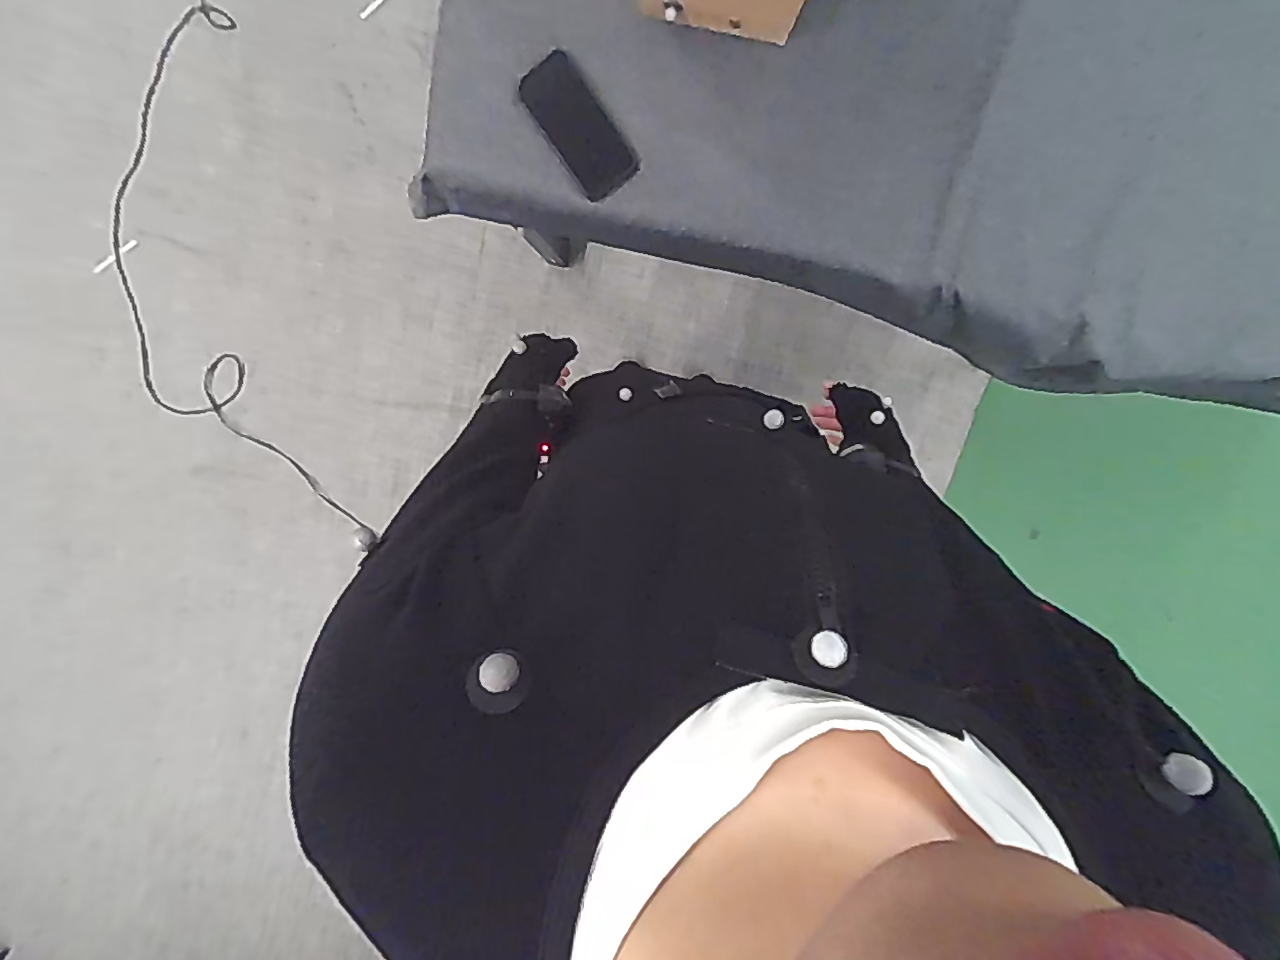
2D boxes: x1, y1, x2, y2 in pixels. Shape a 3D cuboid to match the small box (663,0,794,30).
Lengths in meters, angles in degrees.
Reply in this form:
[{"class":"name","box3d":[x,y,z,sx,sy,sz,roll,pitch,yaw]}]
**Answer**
[{"class":"small box","box3d":[0.097,-0.584,0.515,0.168,0.176,0.179,10,102,-3]}]
